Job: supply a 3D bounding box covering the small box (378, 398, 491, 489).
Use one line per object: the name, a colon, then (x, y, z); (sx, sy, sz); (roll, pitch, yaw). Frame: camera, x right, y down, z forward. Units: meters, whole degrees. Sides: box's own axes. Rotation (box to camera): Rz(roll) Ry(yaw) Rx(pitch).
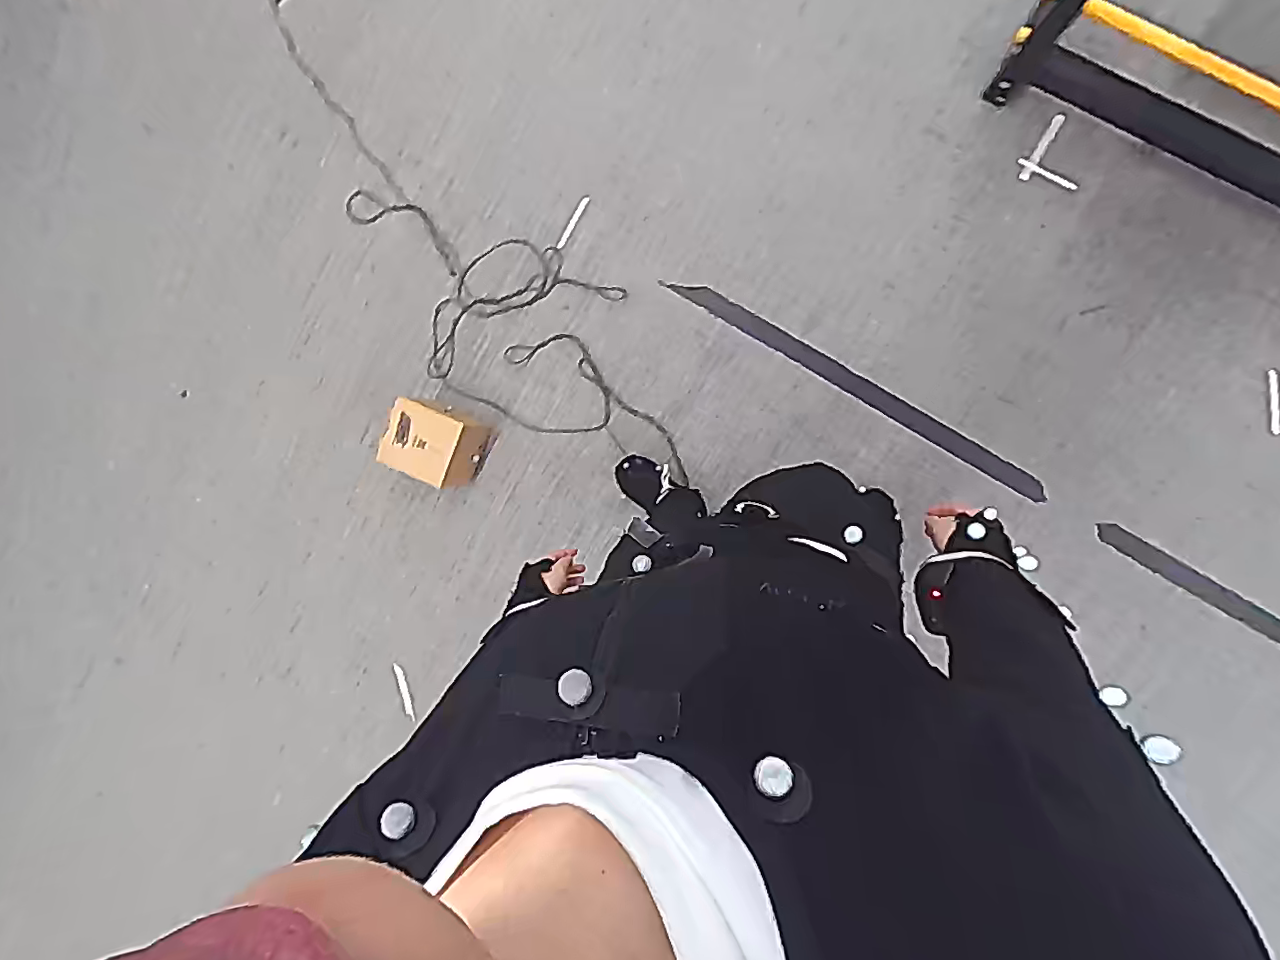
small box: (-0.504, -0.090, 1.347); (0.179, 0.176, 0.168); (24, 97, 5)
